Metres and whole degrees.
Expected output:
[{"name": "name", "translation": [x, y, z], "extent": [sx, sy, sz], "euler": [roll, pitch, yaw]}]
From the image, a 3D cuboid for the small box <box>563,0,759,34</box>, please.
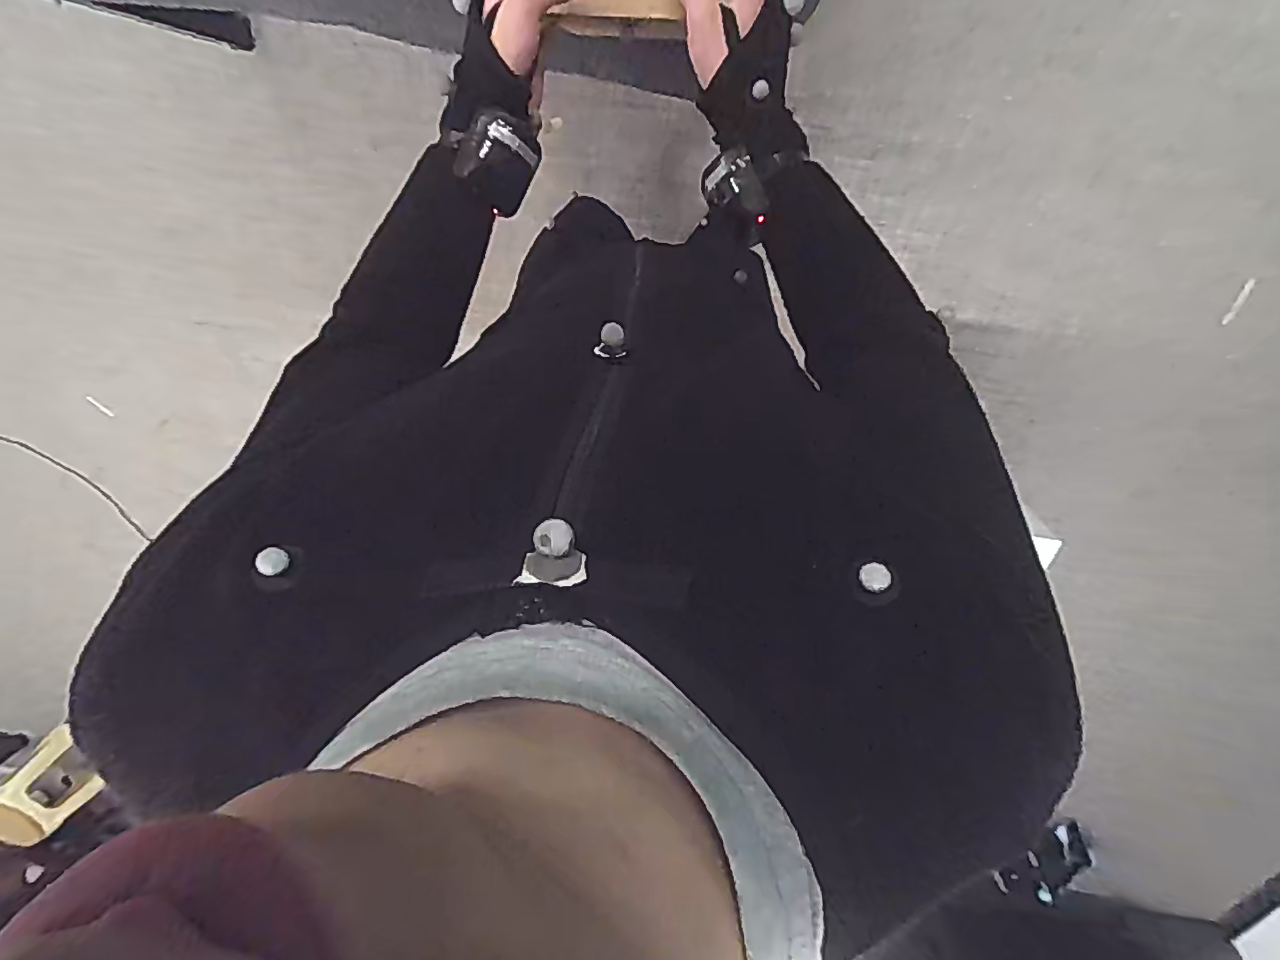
[{"name": "small box", "translation": [0.018, -0.483, 0.443], "extent": [0.179, 0.176, 0.168], "euler": [5, 124, 2]}]
